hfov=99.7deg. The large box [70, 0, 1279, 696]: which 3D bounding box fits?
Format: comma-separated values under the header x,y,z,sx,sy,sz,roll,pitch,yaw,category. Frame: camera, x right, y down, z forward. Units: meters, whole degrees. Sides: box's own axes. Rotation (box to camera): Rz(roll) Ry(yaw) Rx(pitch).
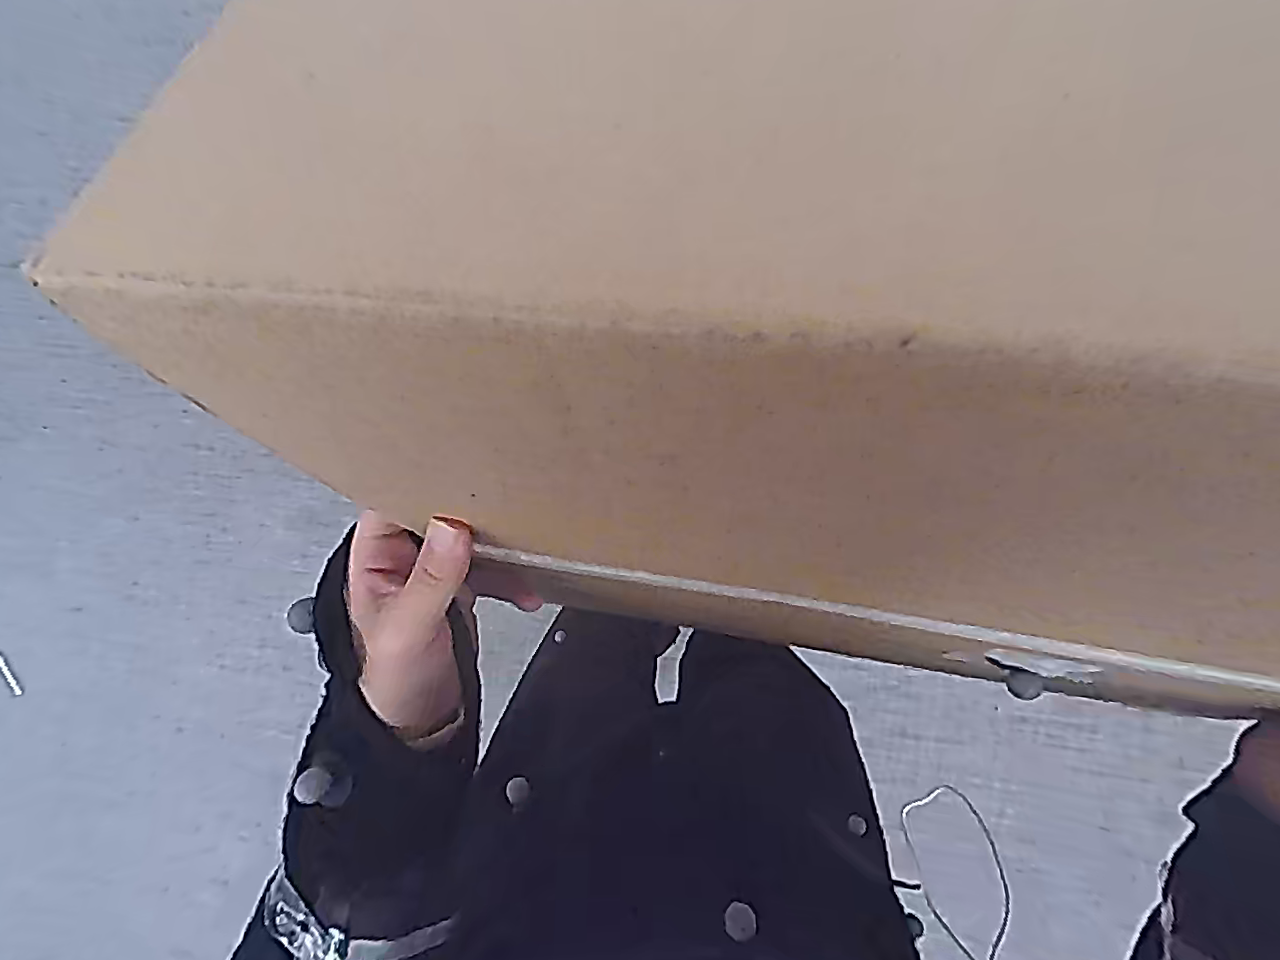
x,y,z,sx,sy,sz,roll,pitch,yaw,category
0.121,-0.101,0.260,0.408,0.320,0.320,7,69,10,large box
